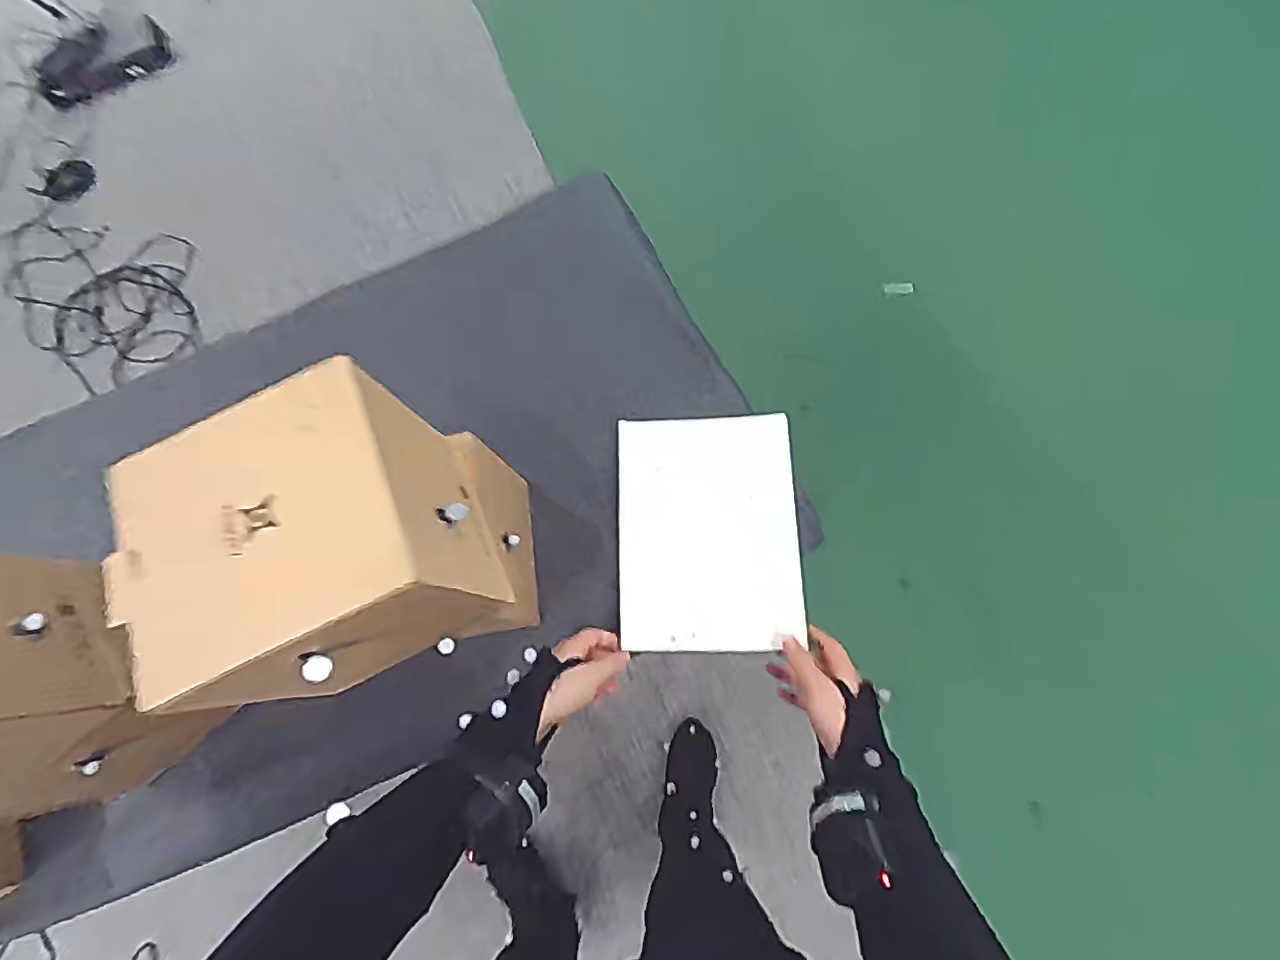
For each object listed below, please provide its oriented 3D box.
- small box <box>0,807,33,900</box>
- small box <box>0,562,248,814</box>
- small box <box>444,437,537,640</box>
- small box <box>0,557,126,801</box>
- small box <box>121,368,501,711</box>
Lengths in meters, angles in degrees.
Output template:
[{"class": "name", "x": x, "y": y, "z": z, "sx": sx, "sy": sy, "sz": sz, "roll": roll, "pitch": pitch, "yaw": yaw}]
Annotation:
[{"class": "small box", "x": -0.805, "y": 0.397, "z": 0.559, "sx": 0.168, "sy": 0.176, "sz": 0.179, "roll": -30, "pitch": 73, "yaw": -2}, {"class": "small box", "x": -0.562, "y": 0.215, "z": 0.583, "sx": 0.179, "sy": 0.176, "sz": 0.168, "roll": -41, "pitch": 74, "yaw": -5}, {"class": "small box", "x": -0.217, "y": 0.075, "z": 0.577, "sx": 0.168, "sy": 0.176, "sz": 0.179, "roll": -11, "pitch": 73, "yaw": 5}, {"class": "small box", "x": -0.581, "y": 0.172, "z": 0.425, "sx": 0.179, "sy": 0.176, "sz": 0.168, "roll": -38, "pitch": 74, "yaw": -5}, {"class": "small box", "x": -0.226, "y": 0.051, "z": 0.415, "sx": 0.179, "sy": 0.176, "sz": 0.168, "roll": -26, "pitch": 72, "yaw": 0}]
